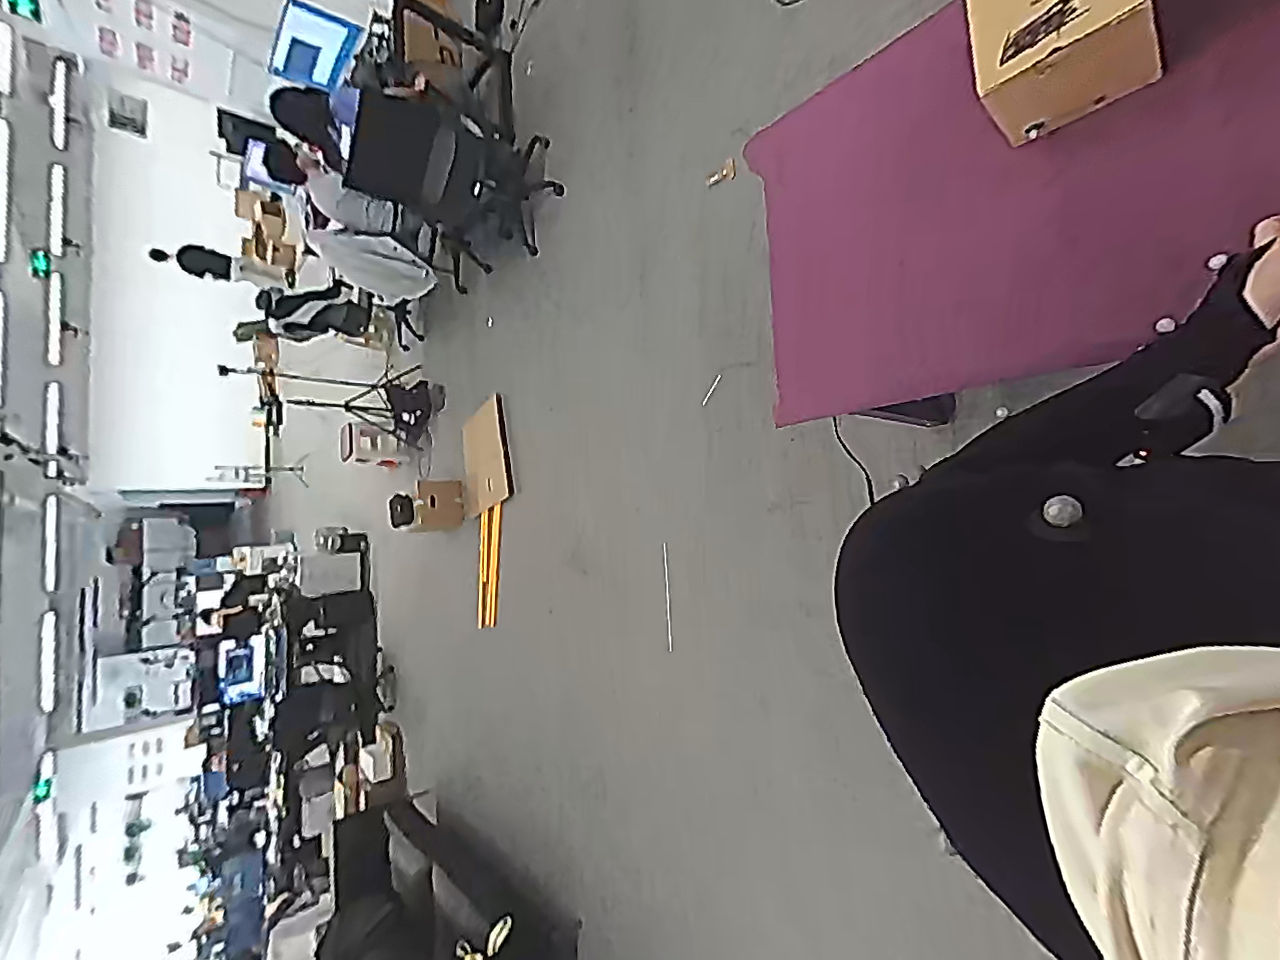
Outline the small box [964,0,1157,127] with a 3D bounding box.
[{"bbox_3d":[0.544,-0.602,0.704,0.168,0.176,0.179,-9,83,47],"label":"small box"}]
